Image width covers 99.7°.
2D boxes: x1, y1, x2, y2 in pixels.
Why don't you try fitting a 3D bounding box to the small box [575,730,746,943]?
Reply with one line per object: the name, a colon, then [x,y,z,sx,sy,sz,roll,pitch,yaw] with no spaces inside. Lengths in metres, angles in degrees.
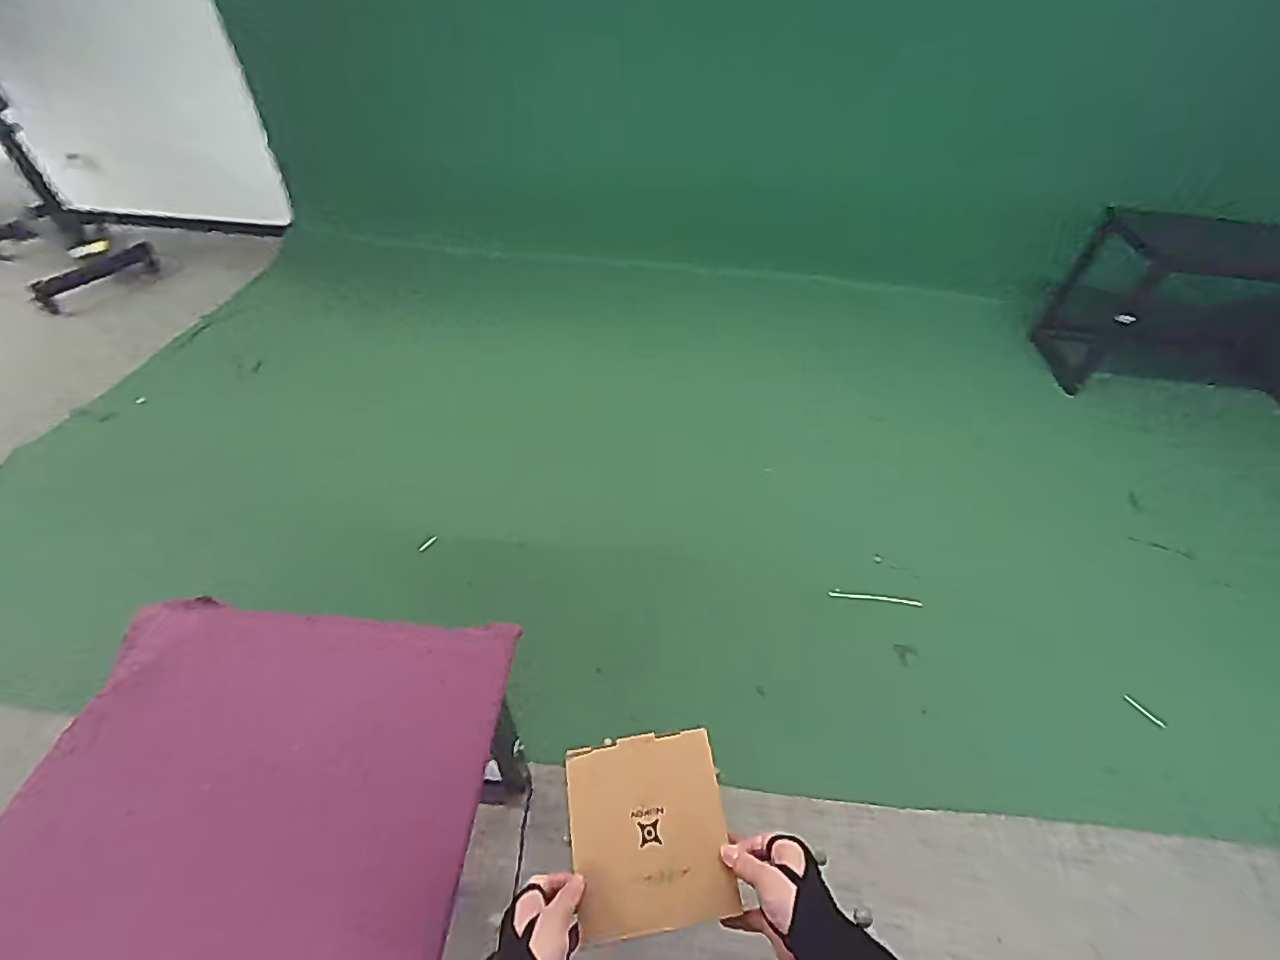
small box: [0.015,0.413,0.641,0.168,0.176,0.179,-7,58,-4]
